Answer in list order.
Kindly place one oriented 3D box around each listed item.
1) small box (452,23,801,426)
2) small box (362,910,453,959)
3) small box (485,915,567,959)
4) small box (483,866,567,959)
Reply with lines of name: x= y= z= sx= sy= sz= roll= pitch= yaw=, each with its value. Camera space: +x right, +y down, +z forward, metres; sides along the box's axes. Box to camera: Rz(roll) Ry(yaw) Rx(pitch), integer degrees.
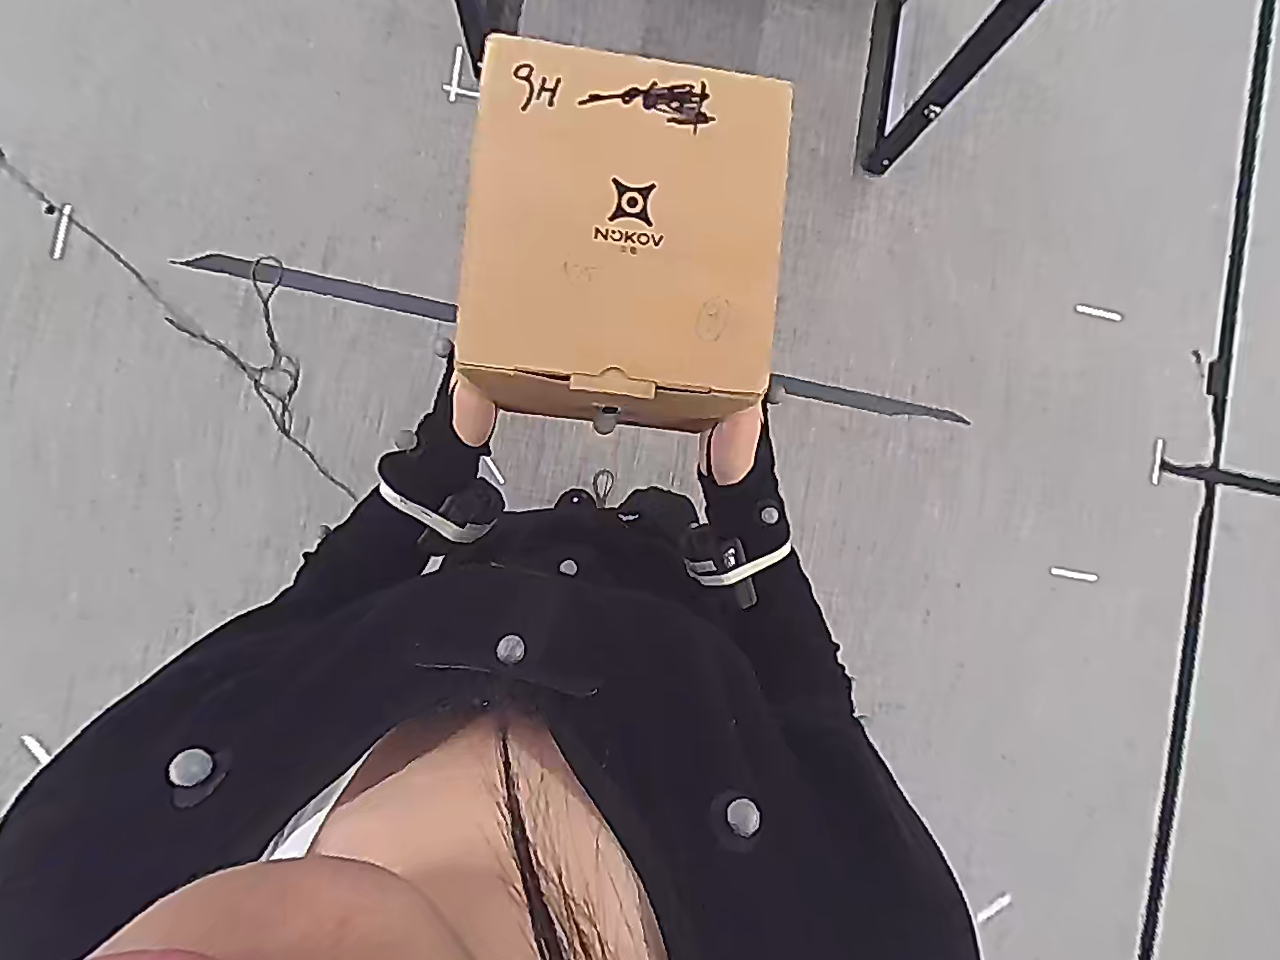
small box: x=-0.012 y=-0.134 z=0.356 sx=0.168 sy=0.176 sz=0.179 roll=6 pitch=89 yaw=-6
small box: x=-0.577 y=1.205 z=1.334 sx=0.179 sy=0.176 sz=0.168 roll=4 pitch=90 yaw=-7
small box: x=-0.265 y=1.116 z=1.201 sx=0.179 sy=0.176 sz=0.168 roll=13 pitch=88 yaw=-7
small box: x=-0.286 y=1.117 z=1.365 sx=0.179 sy=0.176 sz=0.168 roll=12 pitch=88 yaw=-7
